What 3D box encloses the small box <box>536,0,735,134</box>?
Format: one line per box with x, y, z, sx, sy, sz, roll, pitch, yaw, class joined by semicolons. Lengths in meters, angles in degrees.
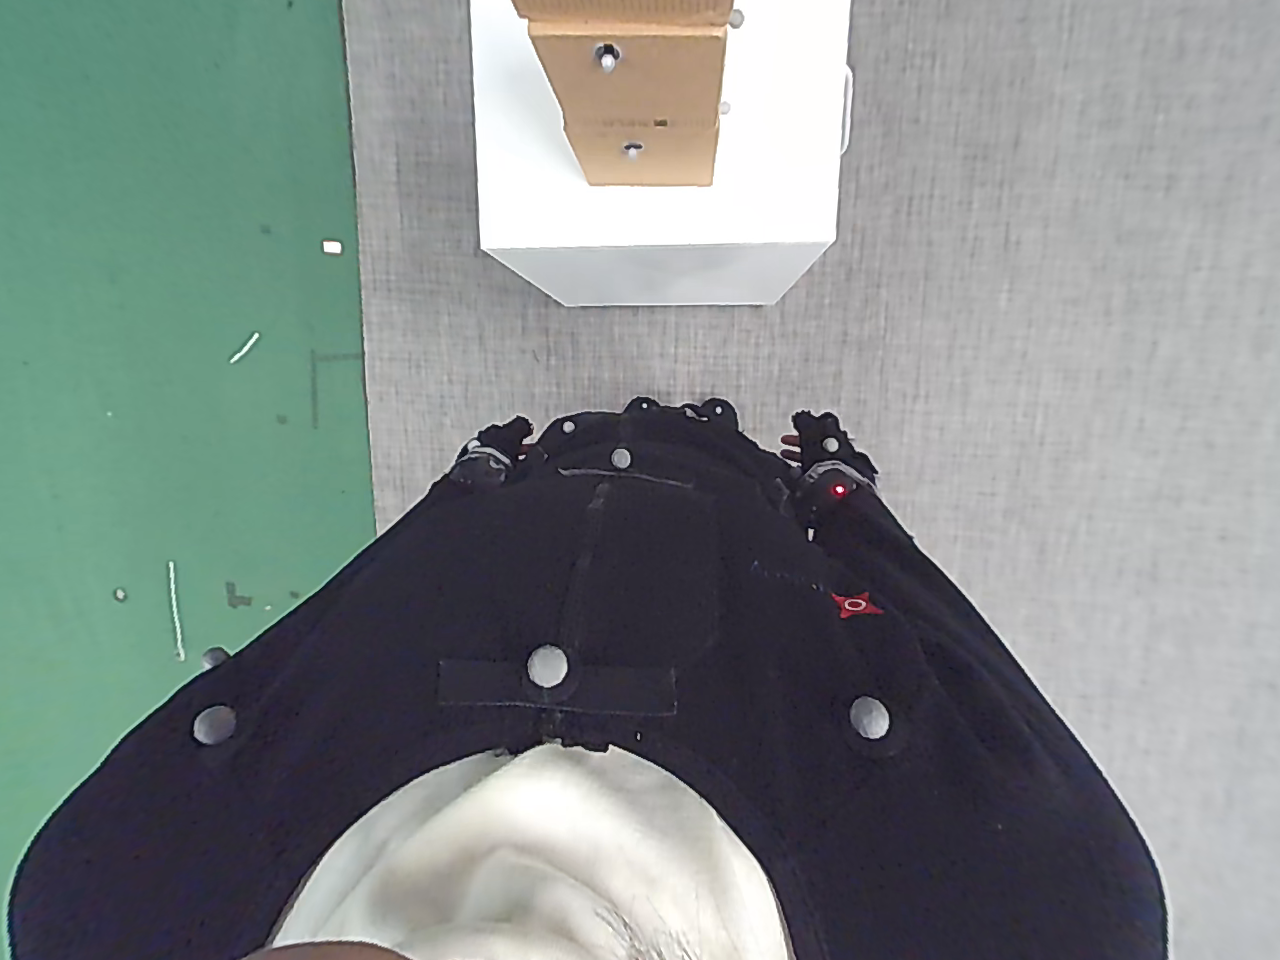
0.002;-0.462;0.511;0.168;0.176;0.179;2;100;4;small box

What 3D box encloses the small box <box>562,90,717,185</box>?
0.009;-0.484;0.670;0.179;0.176;0.168;3;99;4;small box

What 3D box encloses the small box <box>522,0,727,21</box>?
-0.015;-0.440;0.348;0.179;0.176;0.168;5;101;4;small box
